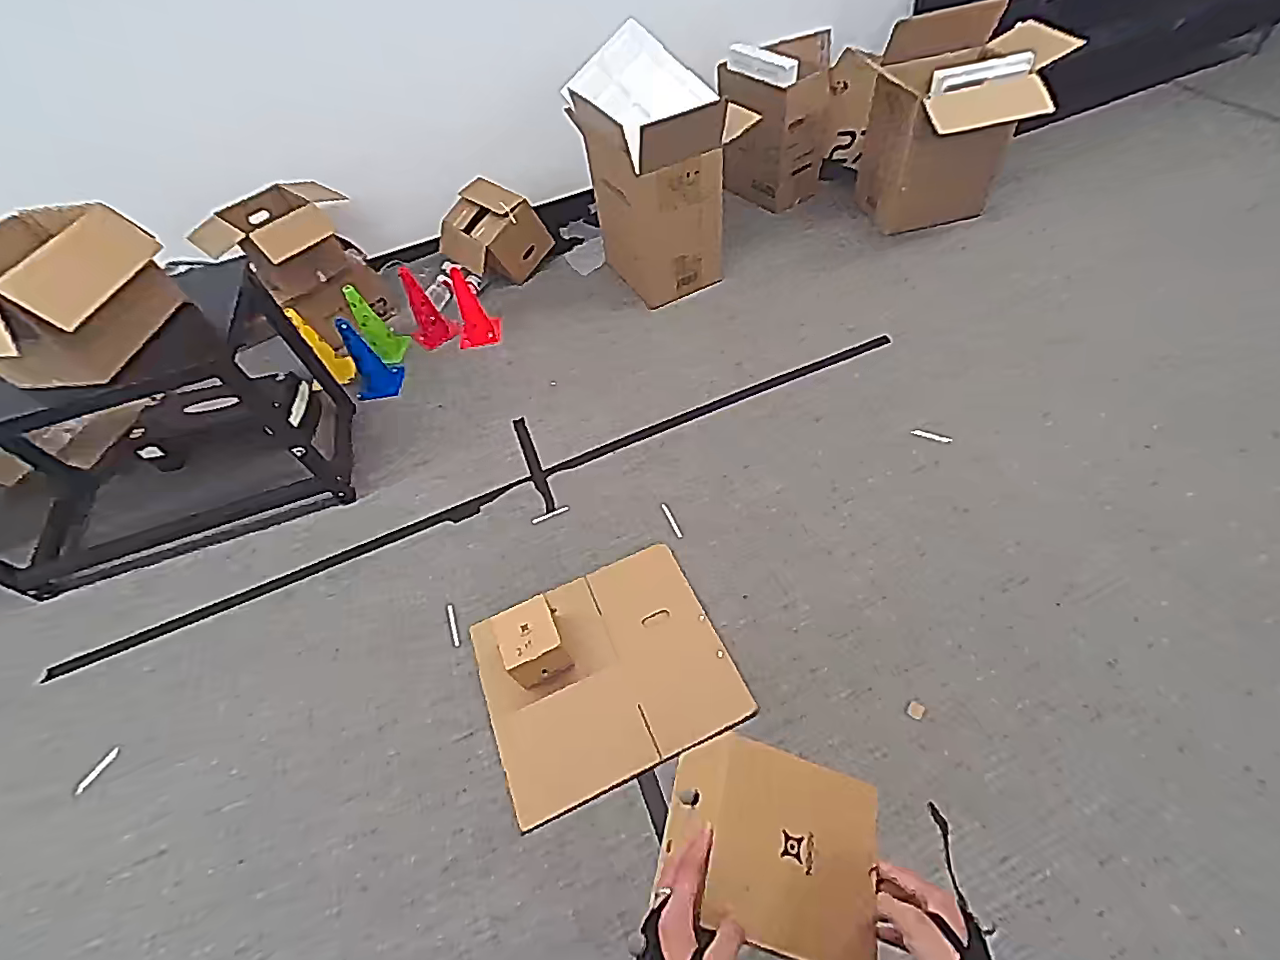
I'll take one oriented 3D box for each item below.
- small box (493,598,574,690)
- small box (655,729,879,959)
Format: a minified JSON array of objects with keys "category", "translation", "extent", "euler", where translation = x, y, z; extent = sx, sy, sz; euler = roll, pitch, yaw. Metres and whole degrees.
[{"category":"small box","translation":[-0.309,0.483,1.584],"extent":[0.168,0.176,0.179],"euler":[-24,53,-9]},{"category":"small box","translation":[0.130,0.395,0.586],"extent":[0.179,0.176,0.168],"euler":[21,53,-3]}]
